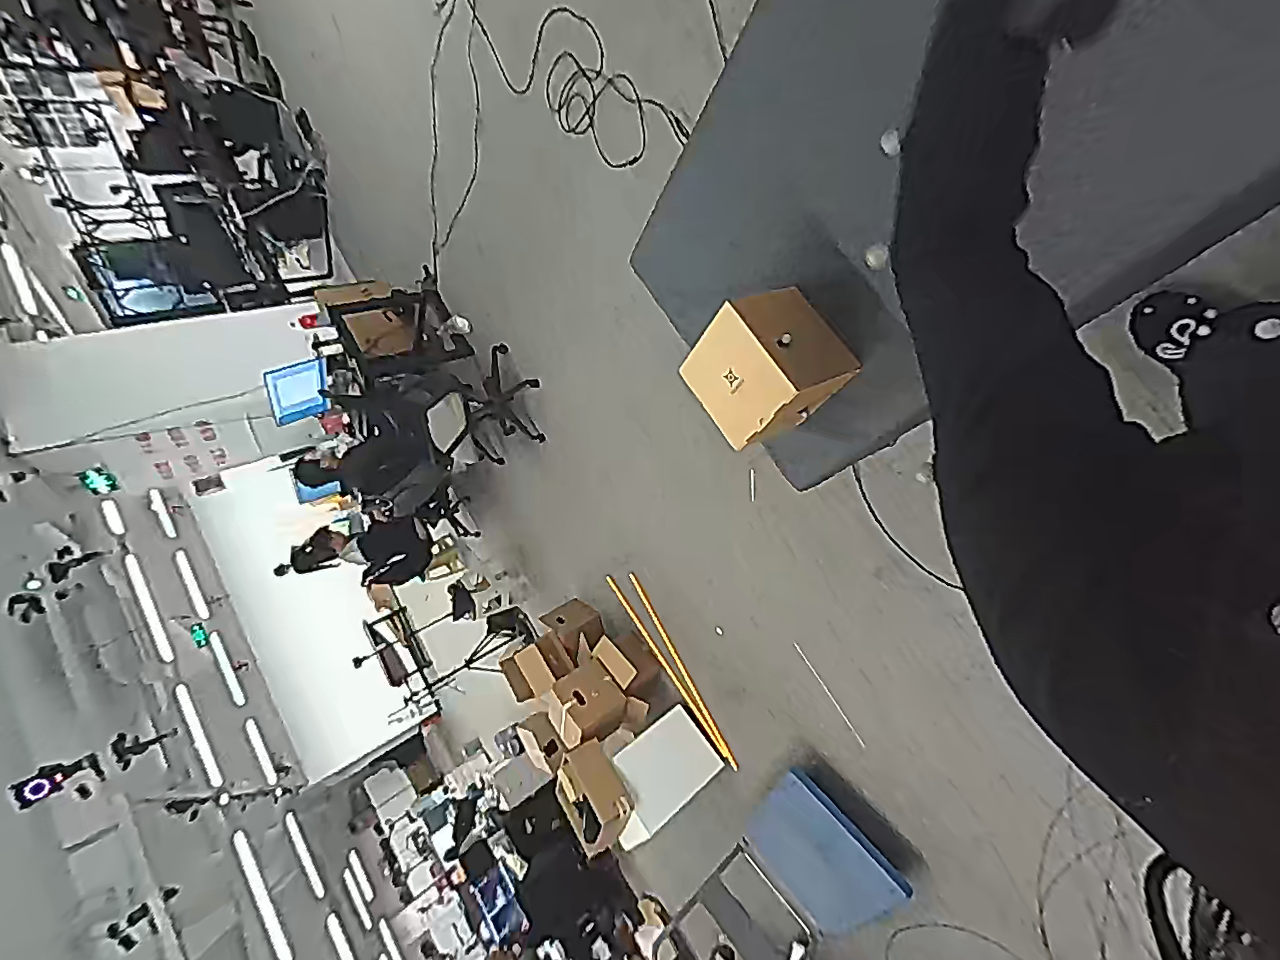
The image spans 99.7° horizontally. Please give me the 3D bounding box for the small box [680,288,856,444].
[{"bbox_3d":[0.204,-0.189,0.875,0.179,0.176,0.168,56,145,13],"label":"small box"}]
